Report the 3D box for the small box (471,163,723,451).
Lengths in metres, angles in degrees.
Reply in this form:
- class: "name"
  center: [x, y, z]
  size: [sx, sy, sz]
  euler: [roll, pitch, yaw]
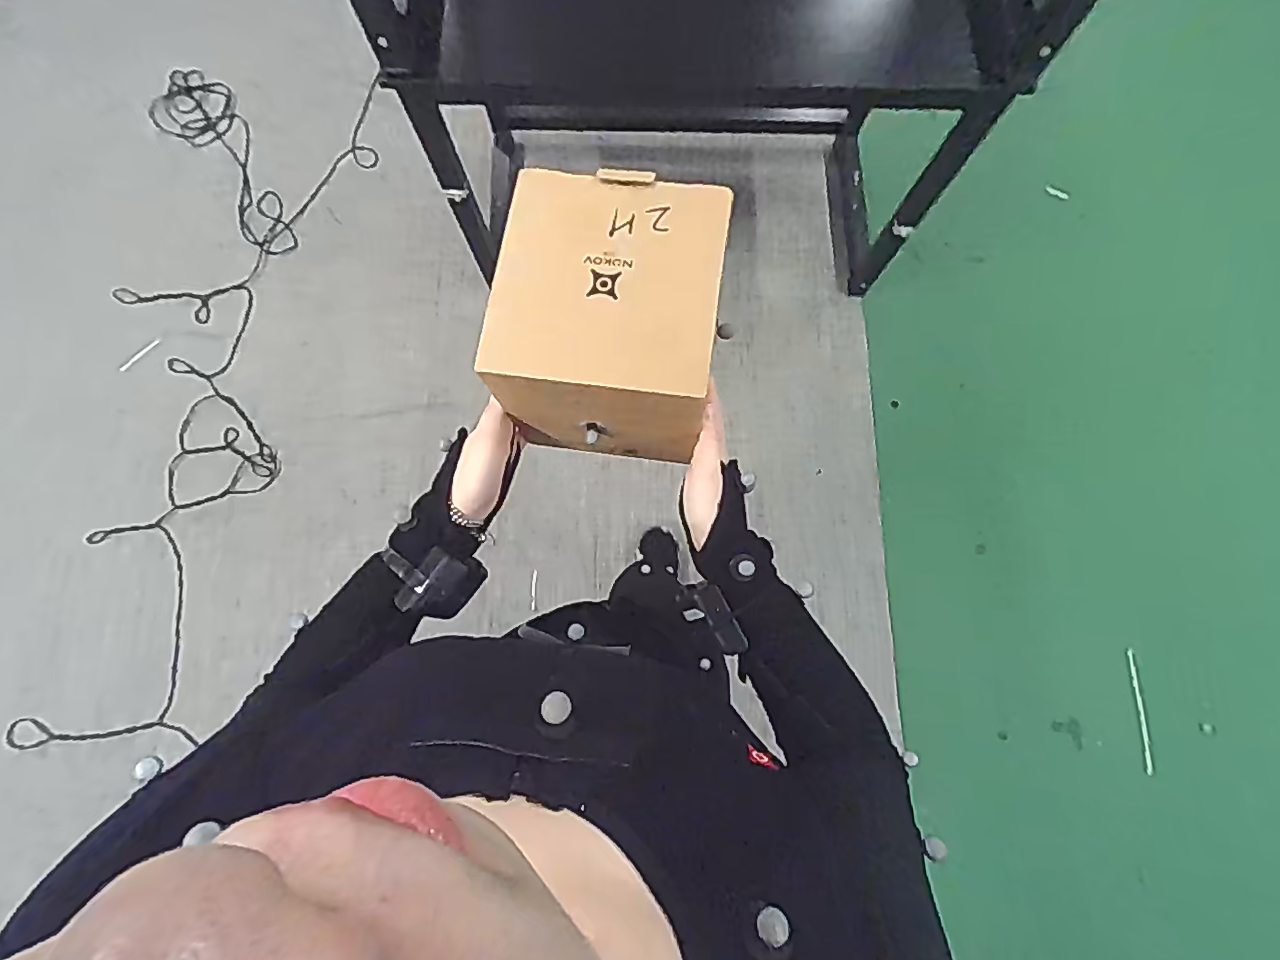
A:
- class: "small box"
  center: [-0.025, -0.135, 0.473]
  size: [0.168, 0.176, 0.179]
  euler: [7, 76, 3]
